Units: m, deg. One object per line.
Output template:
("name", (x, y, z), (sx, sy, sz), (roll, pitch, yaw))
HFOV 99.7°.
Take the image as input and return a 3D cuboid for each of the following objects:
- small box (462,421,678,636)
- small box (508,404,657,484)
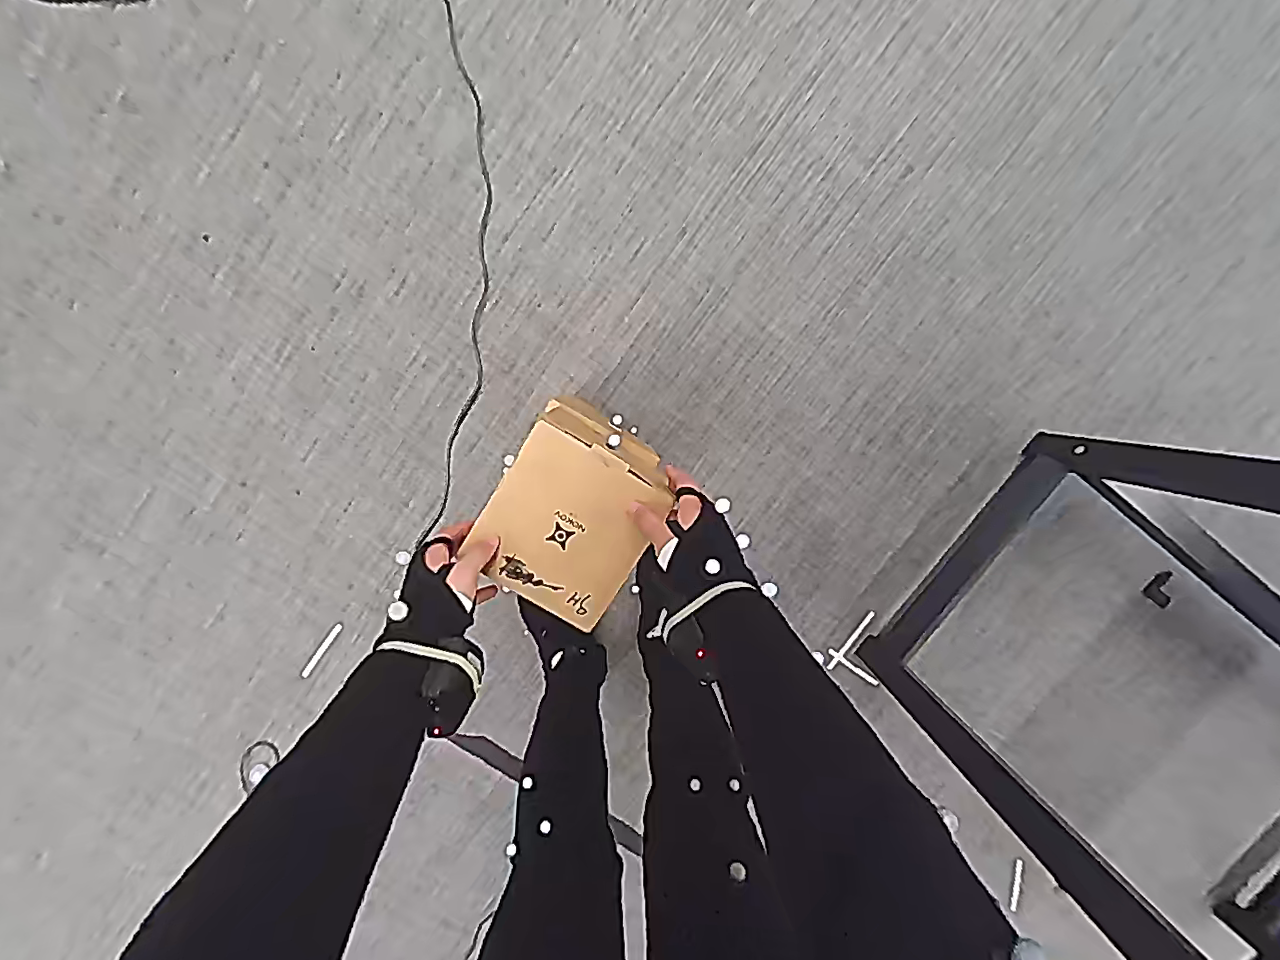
("small box", (-0.078, 0.043, 0.640), (0.168, 0.176, 0.179), (32, 96, -8))
("small box", (-0.091, 0.002, 0.800), (0.168, 0.176, 0.179), (28, 96, -8))
